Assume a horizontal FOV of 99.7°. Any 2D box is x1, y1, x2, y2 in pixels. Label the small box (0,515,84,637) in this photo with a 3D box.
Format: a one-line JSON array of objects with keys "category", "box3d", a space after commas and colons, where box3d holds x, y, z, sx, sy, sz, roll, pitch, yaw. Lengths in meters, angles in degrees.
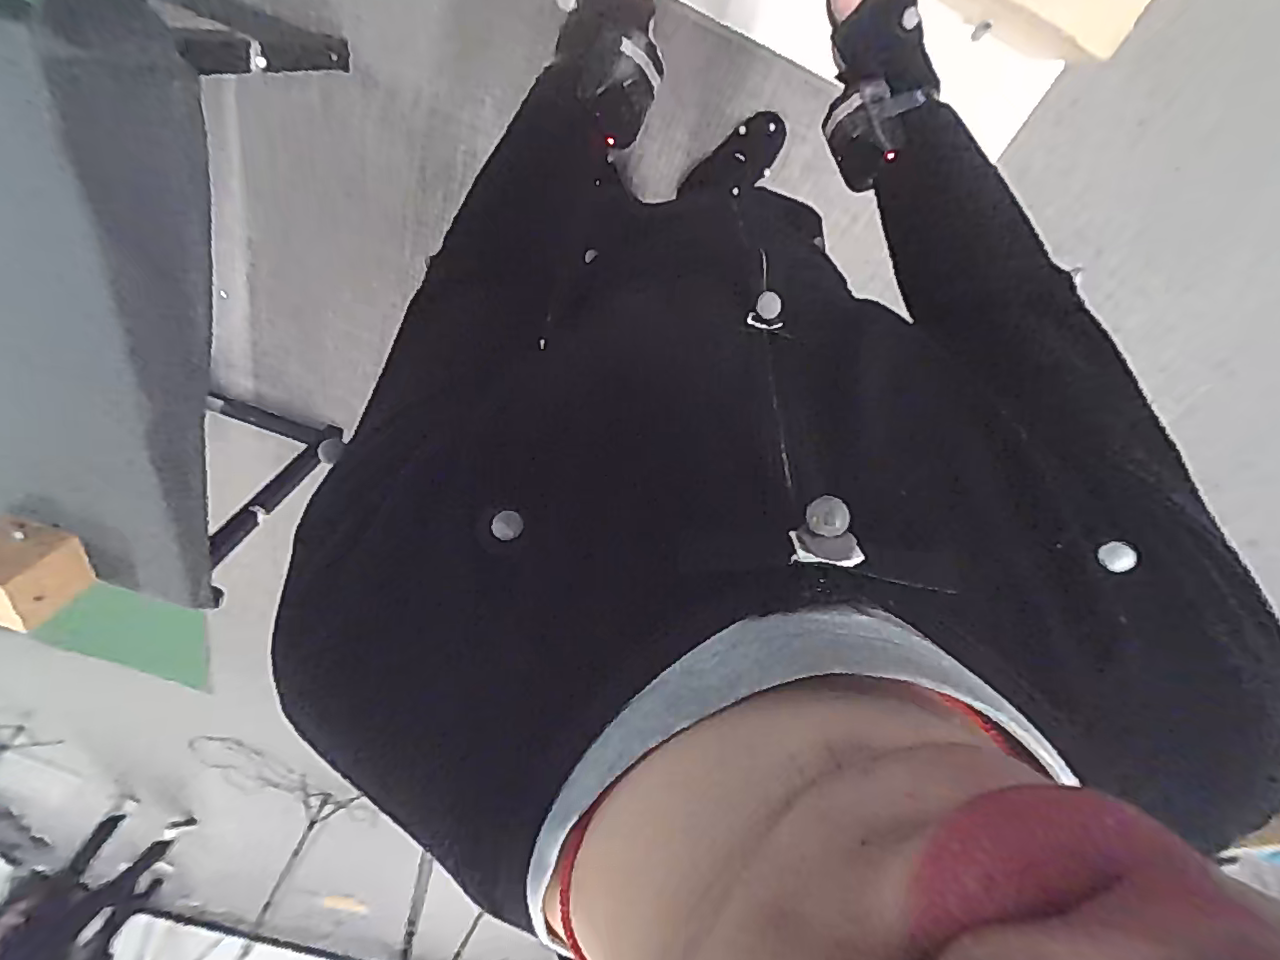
[{"category": "small box", "box3d": [-1.402, 0.210, 1.198, 0.168, 0.176, 0.179, 21, 127, -8]}]
